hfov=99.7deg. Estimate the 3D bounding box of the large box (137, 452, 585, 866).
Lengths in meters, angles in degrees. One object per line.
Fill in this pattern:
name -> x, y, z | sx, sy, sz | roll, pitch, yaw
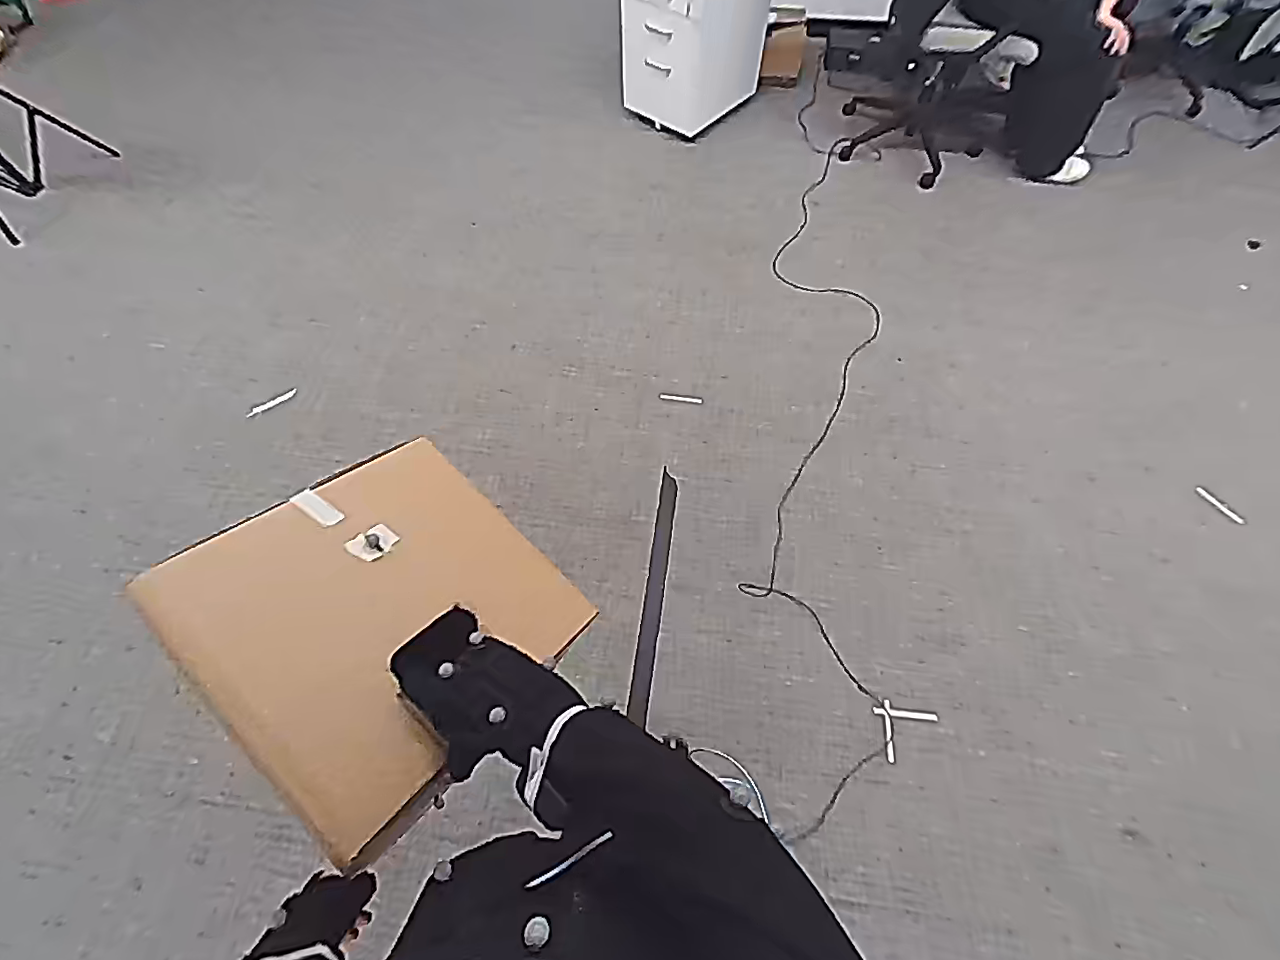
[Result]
large box -> -0.331, 0.238, 0.703 | 0.320, 0.408, 0.320 | 44, 48, 8
